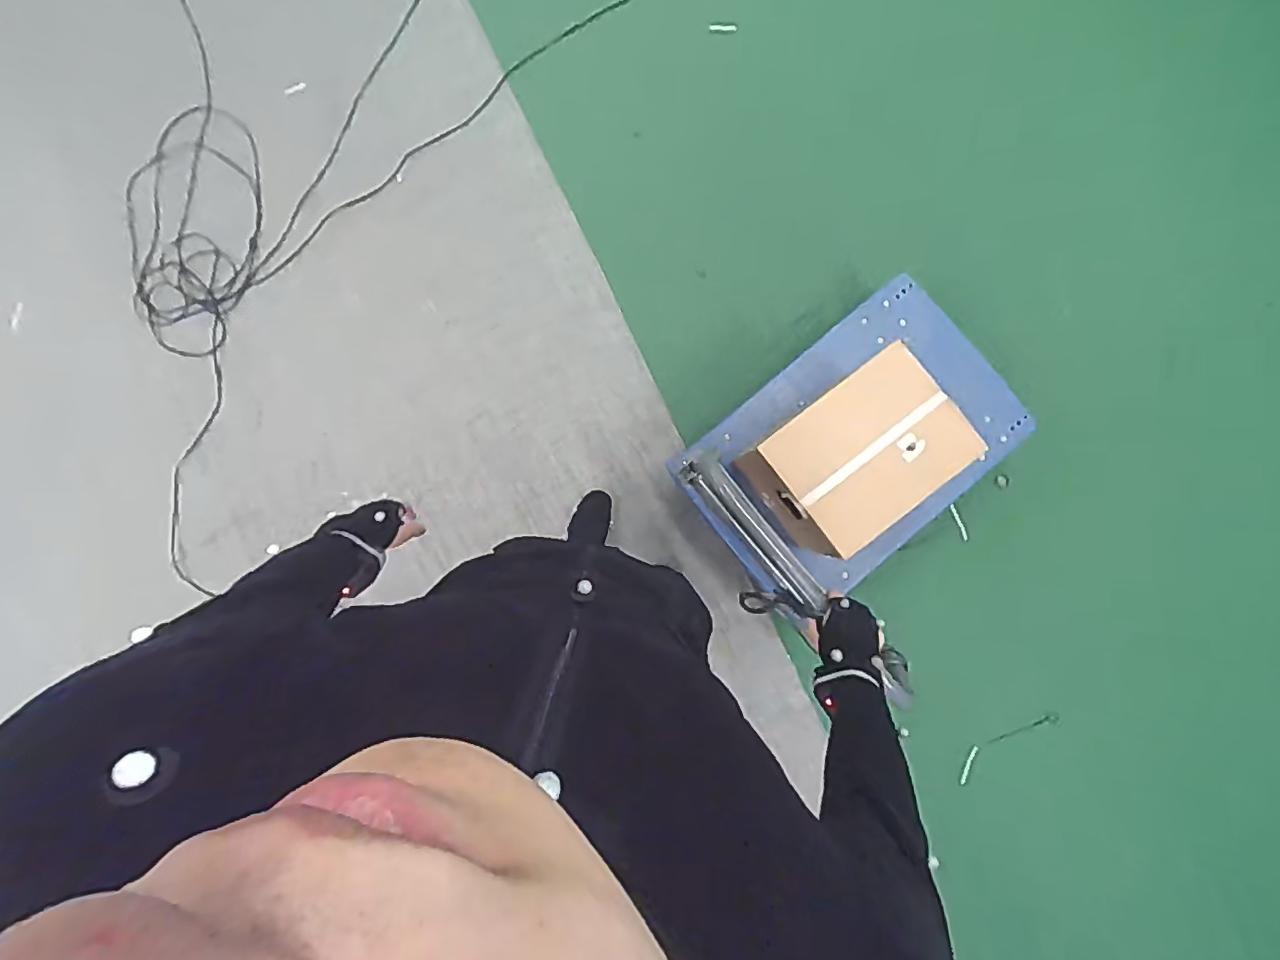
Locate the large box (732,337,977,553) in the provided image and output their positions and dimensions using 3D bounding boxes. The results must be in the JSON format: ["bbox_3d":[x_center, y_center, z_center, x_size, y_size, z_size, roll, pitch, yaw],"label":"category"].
[{"bbox_3d":[0.494,-0.068,1.331,0.408,0.320,0.320,-37,88,-3],"label":"large box"}]
